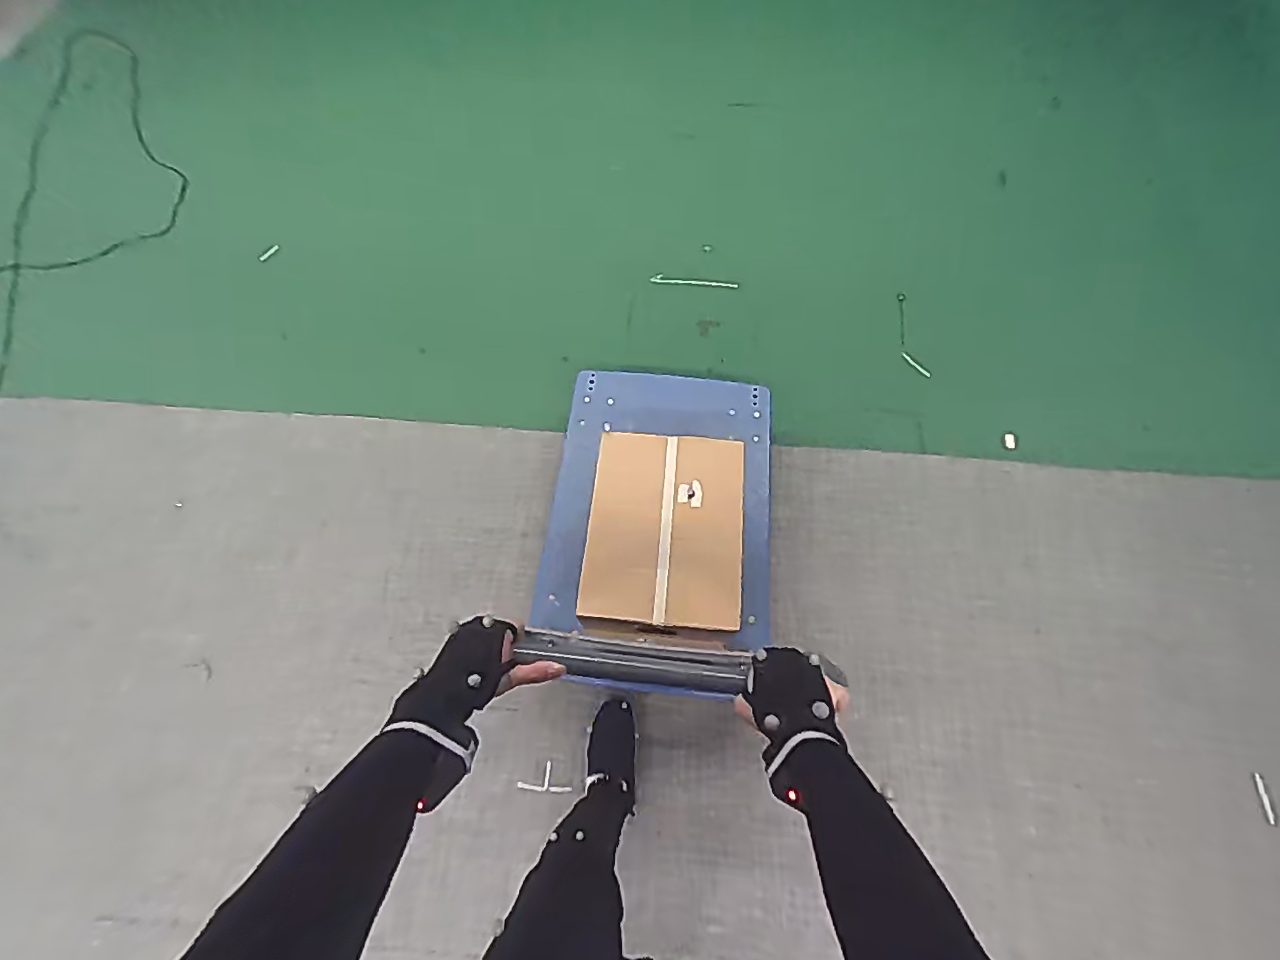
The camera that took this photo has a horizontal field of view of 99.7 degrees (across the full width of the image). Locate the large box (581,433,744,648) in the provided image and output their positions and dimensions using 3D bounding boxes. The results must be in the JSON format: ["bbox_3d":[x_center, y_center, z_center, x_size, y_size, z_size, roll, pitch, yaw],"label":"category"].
[{"bbox_3d":[0.059,0.149,1.237,0.320,0.320,0.408,5,65,3],"label":"large box"}]
